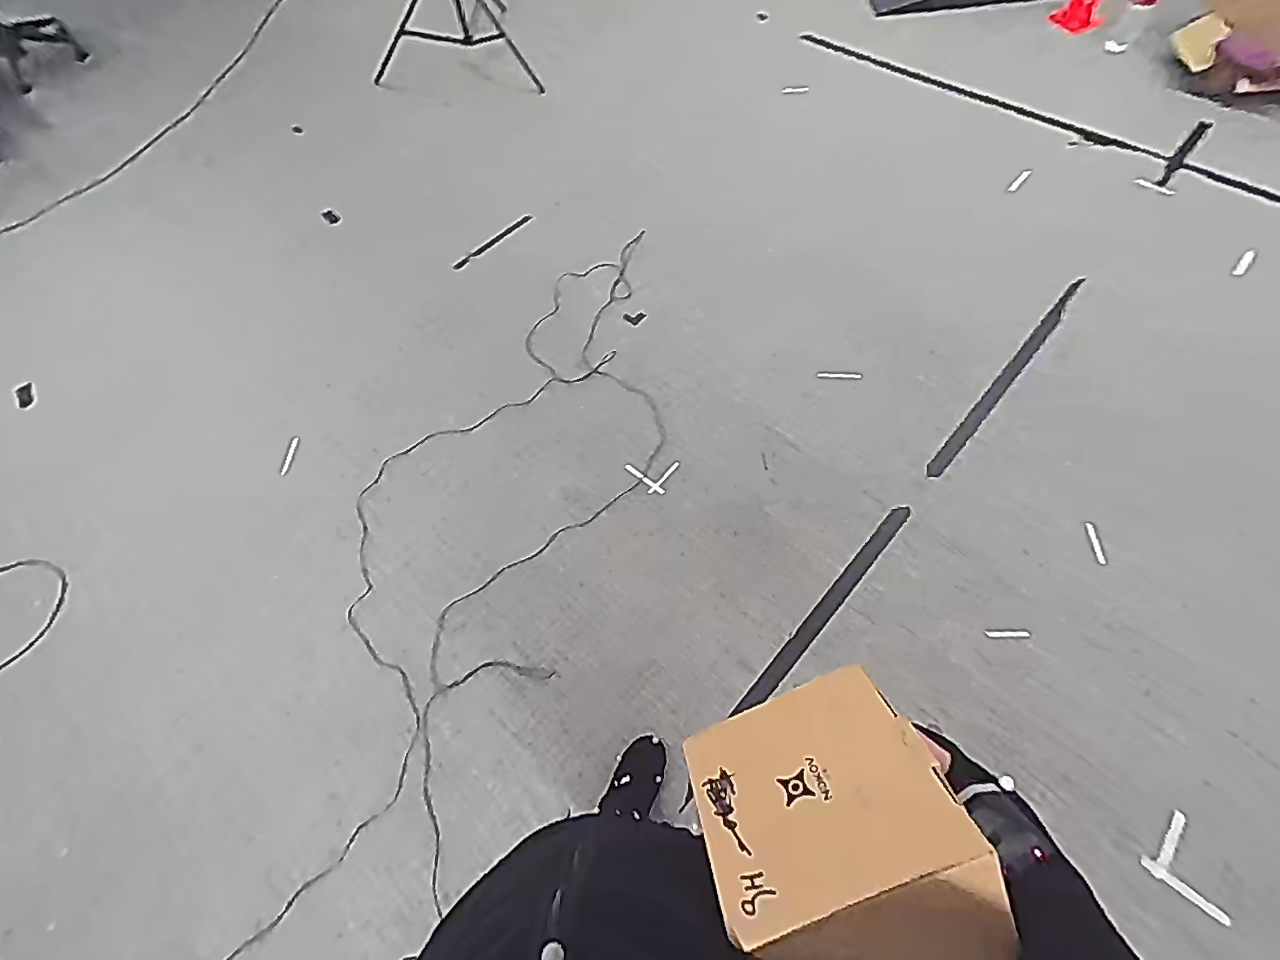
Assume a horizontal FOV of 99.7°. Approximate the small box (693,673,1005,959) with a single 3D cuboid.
[{"bbox_3d":[0.166,0.304,0.448,0.179,0.176,0.168,-24,21,3],"label":"small box"}]
